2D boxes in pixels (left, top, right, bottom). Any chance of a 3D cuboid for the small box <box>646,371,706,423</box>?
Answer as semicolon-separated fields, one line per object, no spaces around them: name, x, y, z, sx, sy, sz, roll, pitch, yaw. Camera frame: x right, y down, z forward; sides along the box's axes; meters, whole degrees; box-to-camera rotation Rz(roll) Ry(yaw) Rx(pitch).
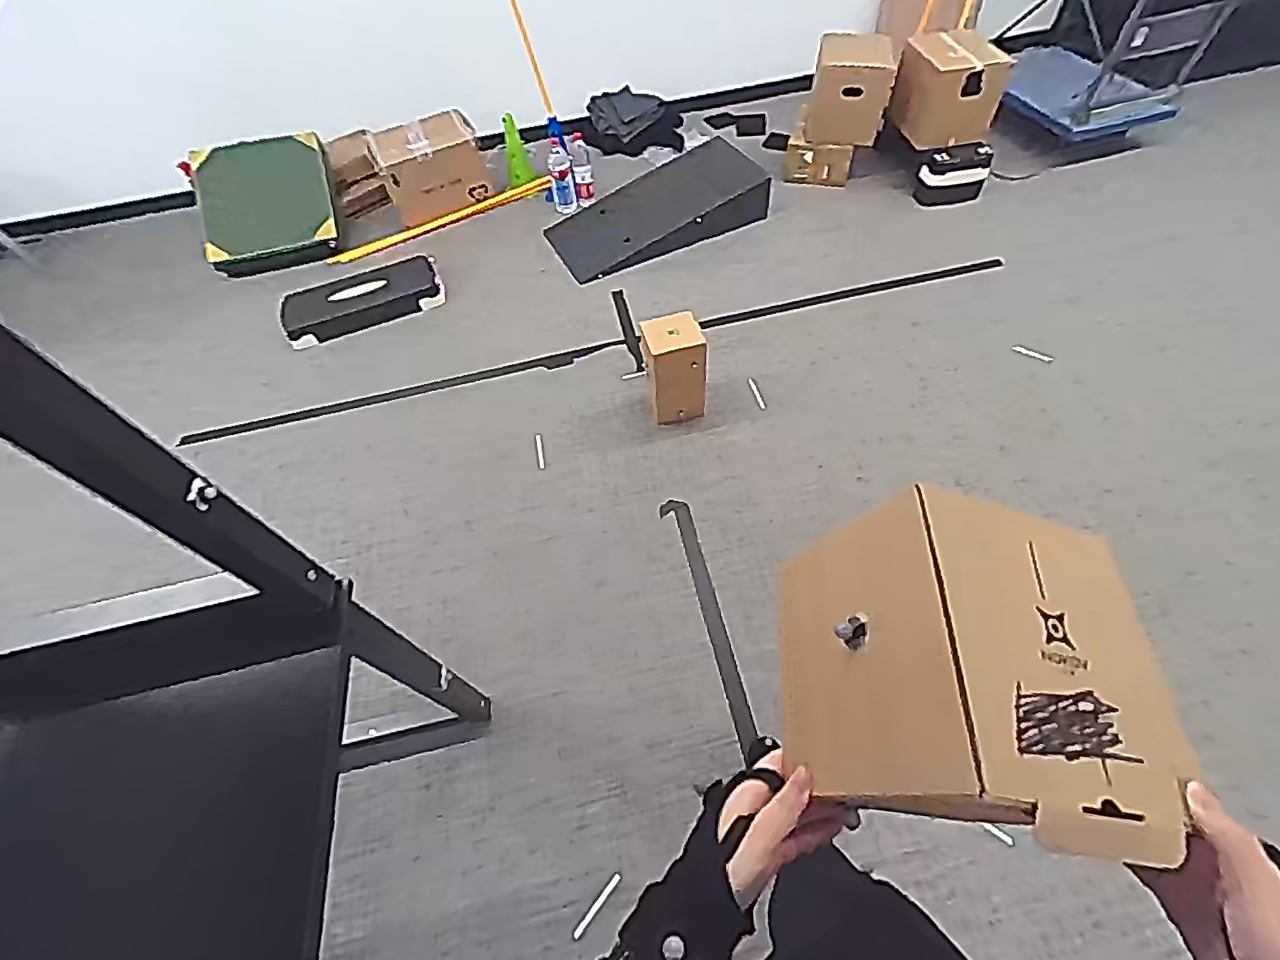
small box;0.119;-0.320;1.874;0.179;0.176;0.168;-12;55;-4

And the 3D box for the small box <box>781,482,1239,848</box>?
small box;0.212;0.132;0.368;0.168;0.176;0.179;16;56;-14

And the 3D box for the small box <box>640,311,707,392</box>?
small box;0.106;-0.411;1.737;0.179;0.176;0.168;-14;55;-4
